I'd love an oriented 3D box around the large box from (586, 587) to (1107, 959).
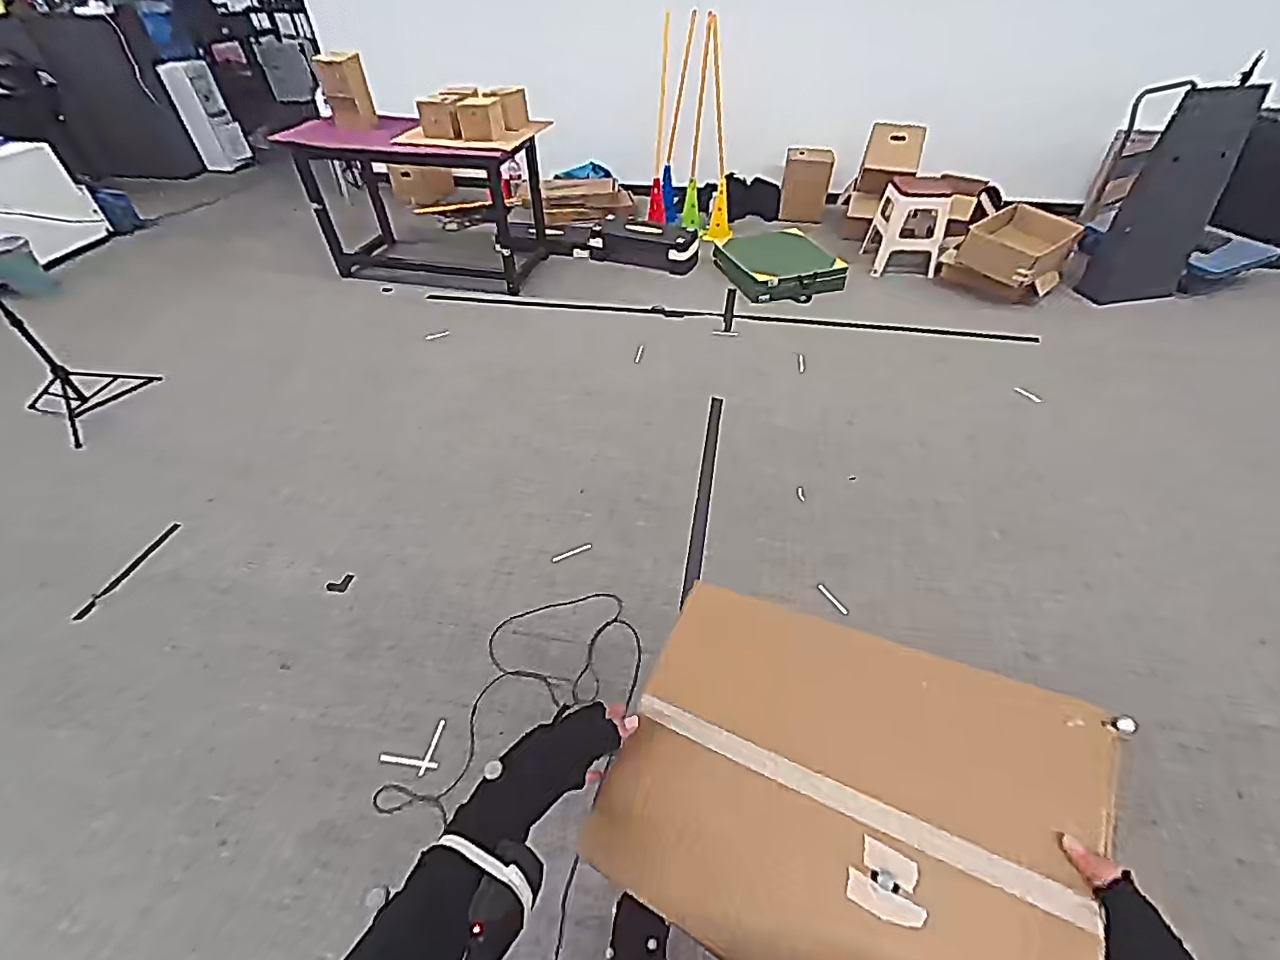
[{"bbox_3d":[0.221,0.372,0.617,0.408,0.320,0.320,13,61,31],"label":"large box"}]
